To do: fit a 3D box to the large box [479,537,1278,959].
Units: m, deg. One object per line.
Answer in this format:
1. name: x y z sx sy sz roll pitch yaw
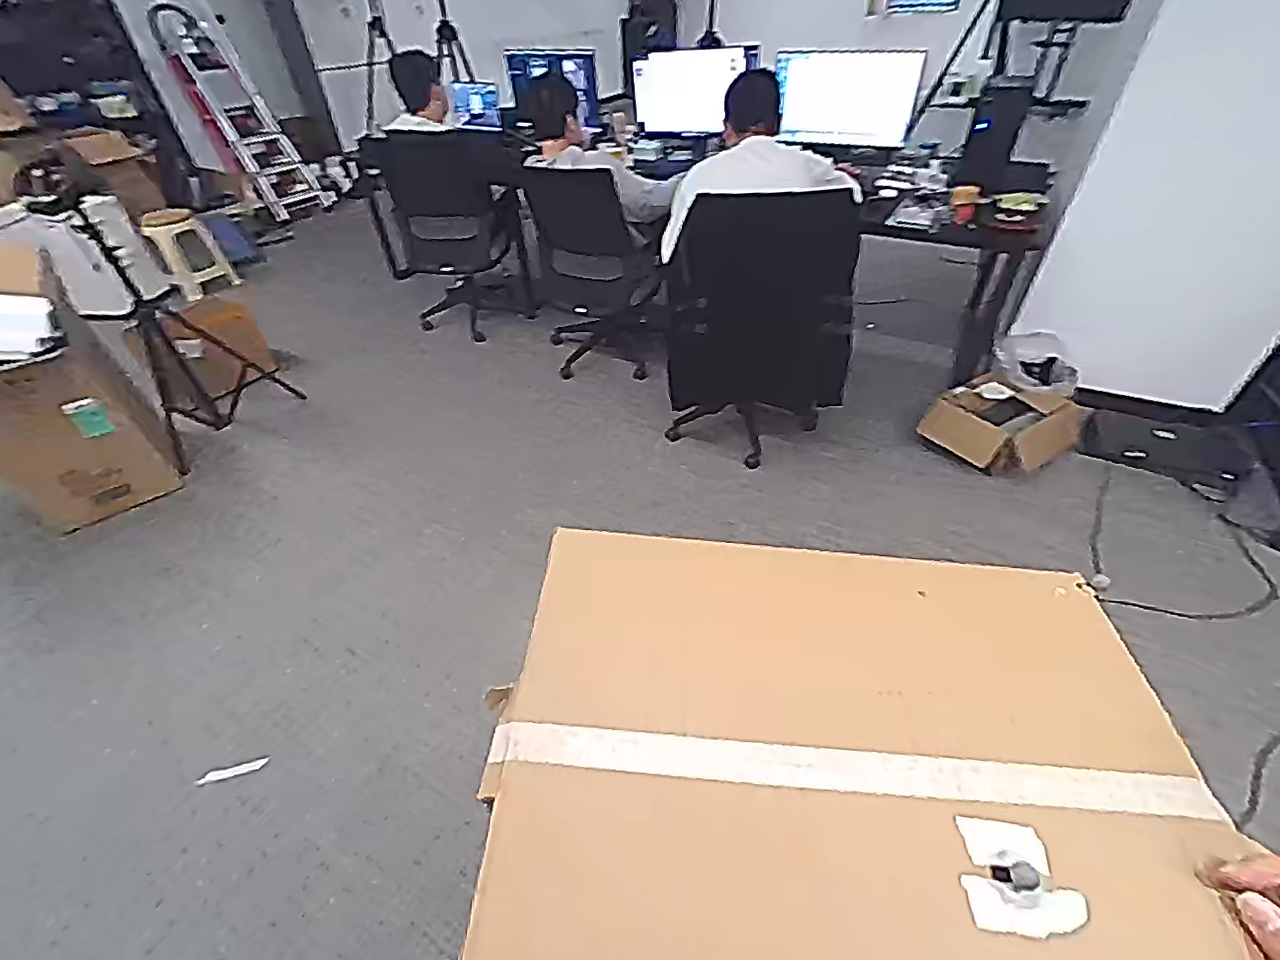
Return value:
1. large box: 0.113 0.272 0.428 0.408 0.320 0.320 6 47 -1
